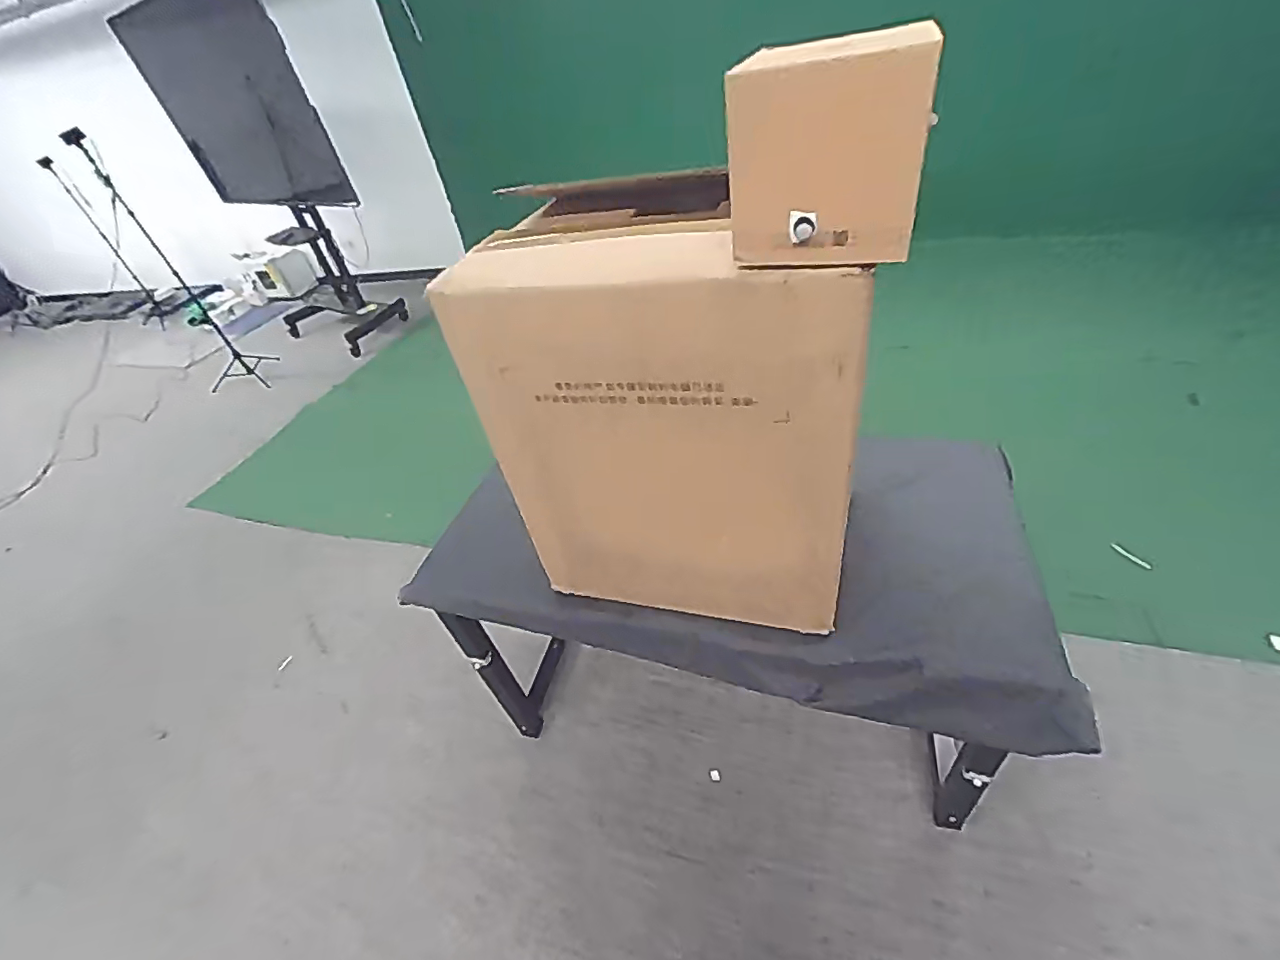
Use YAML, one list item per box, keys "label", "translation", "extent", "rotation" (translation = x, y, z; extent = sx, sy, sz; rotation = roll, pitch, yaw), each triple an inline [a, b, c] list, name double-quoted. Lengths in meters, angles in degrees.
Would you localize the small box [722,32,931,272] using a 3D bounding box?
- label: "small box"
  translation: [0.183, -0.325, 0.546]
  extent: [0.168, 0.176, 0.179]
  rotation: [4, 43, 19]
